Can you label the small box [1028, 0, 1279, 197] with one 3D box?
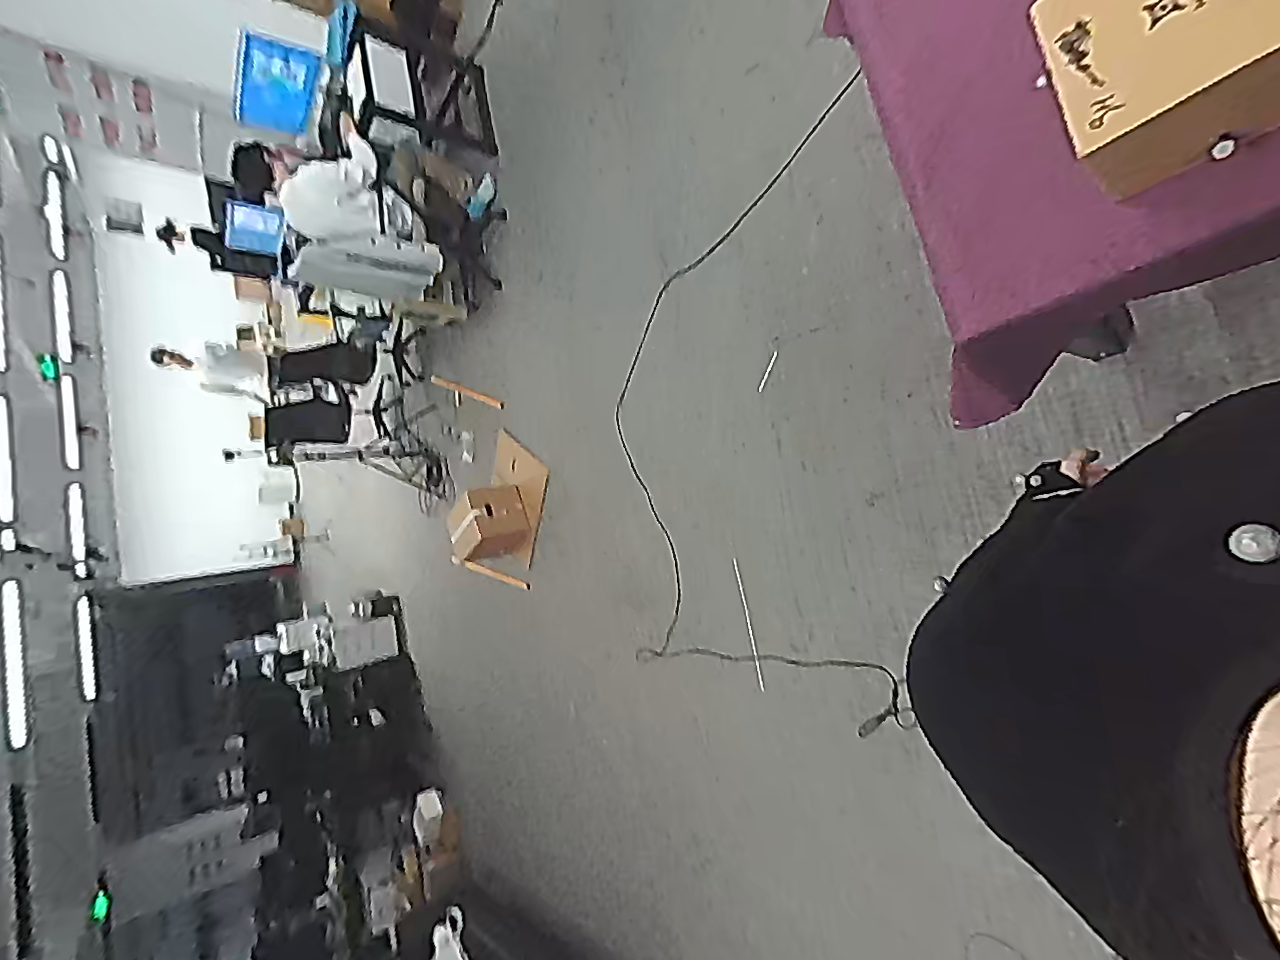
[{"bbox_3d":[0.506,-0.406,0.506,0.179,0.176,0.168,-19,79,49],"label":"small box"}]
